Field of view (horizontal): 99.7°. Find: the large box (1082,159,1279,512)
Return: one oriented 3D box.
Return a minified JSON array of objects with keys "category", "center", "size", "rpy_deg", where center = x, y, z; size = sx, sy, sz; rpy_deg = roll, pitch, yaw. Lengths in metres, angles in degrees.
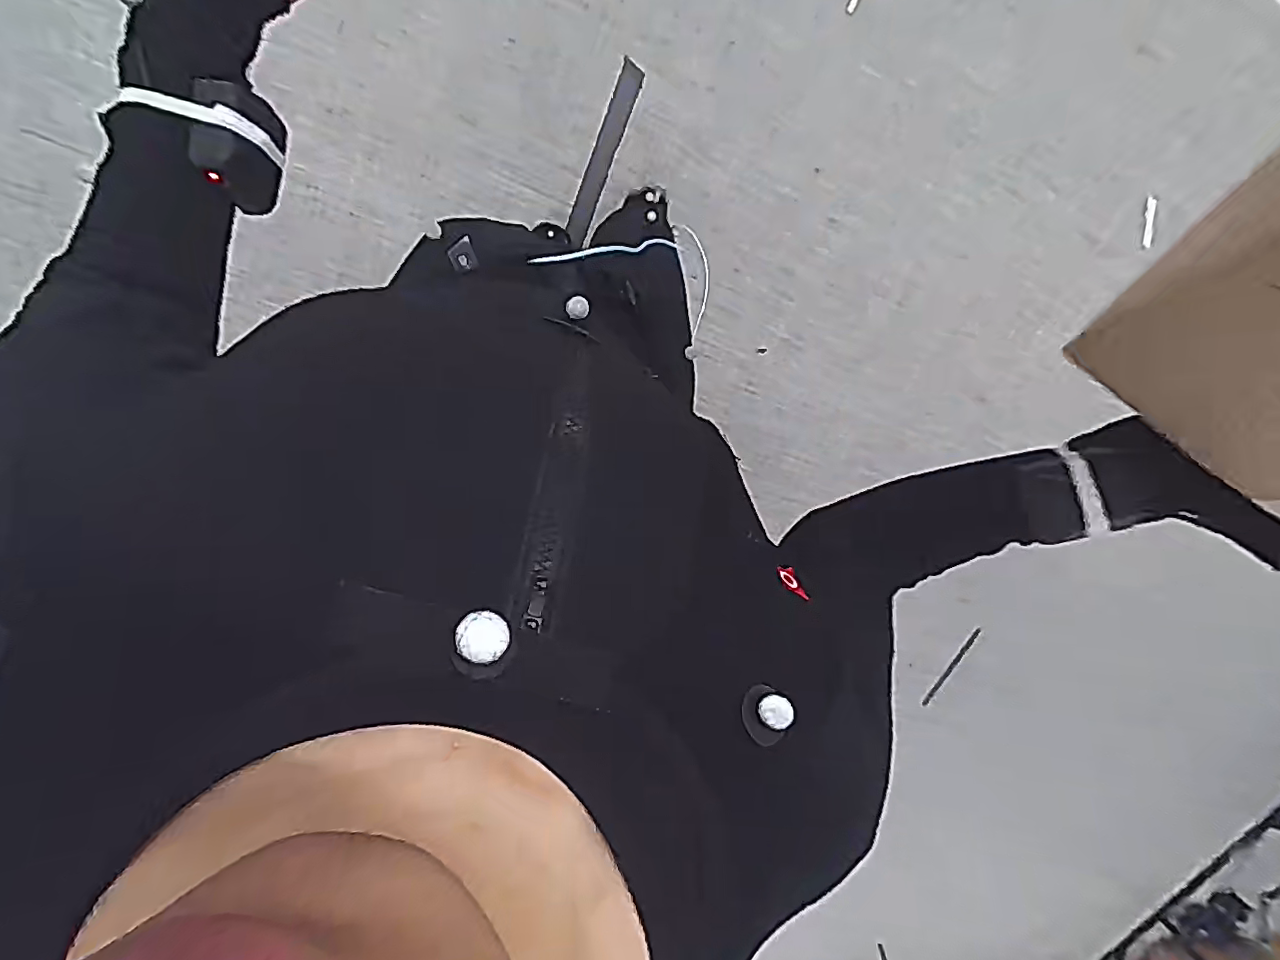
[{"category":"large box","center":[0.456,-0.092,0.132],"size":[0.320,0.408,0.320],"rpy_deg":[-45,80,14]}]
